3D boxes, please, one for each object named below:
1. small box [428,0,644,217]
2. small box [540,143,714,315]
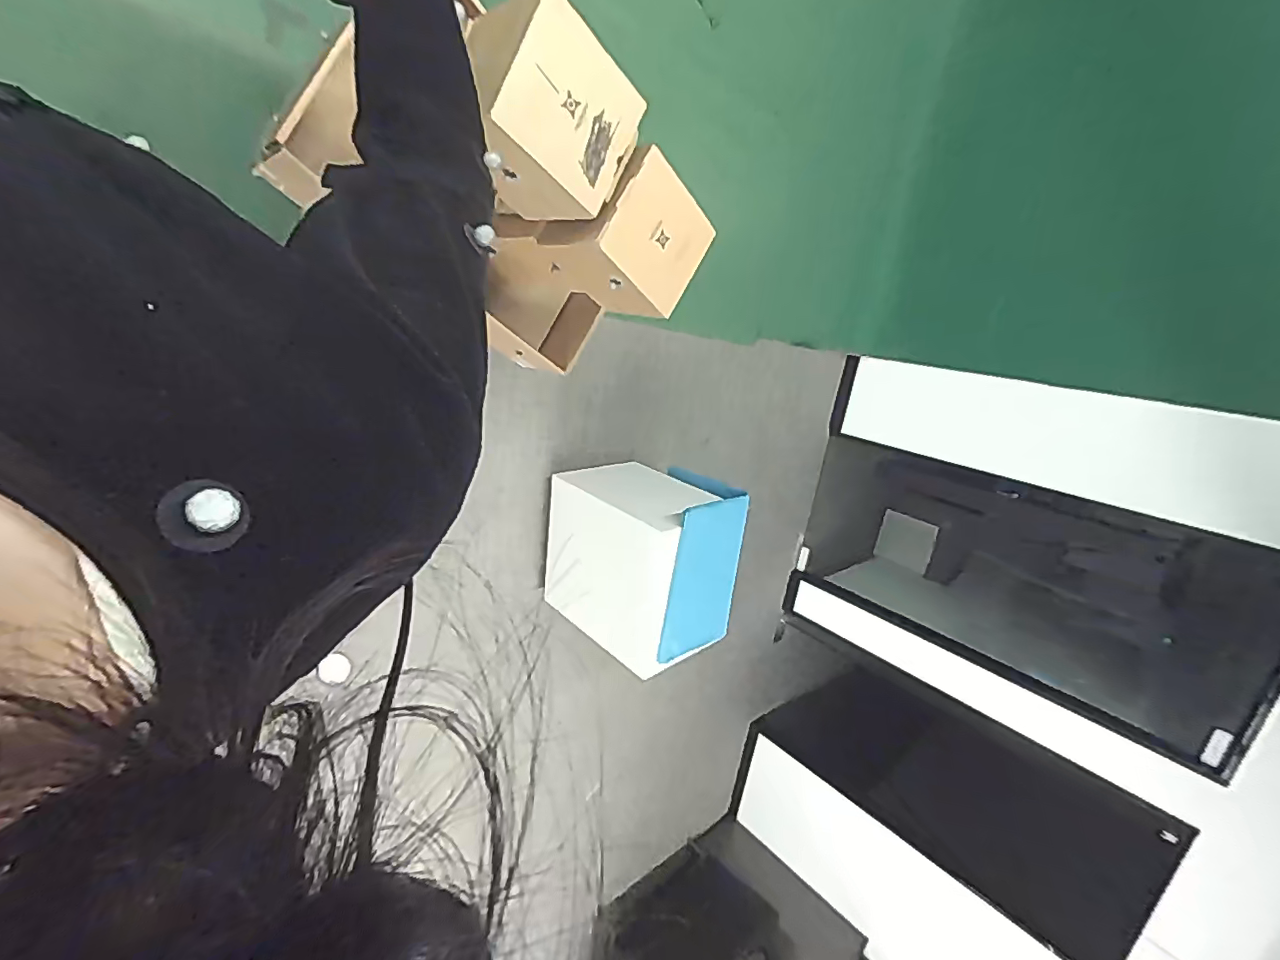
[{"bbox_3d":[-0.133,-0.463,0.690,0.179,0.176,0.168,24,89,-47],"label":"small box"},{"bbox_3d":[-0.023,-0.380,0.846,0.179,0.176,0.168,34,83,-45],"label":"small box"}]
